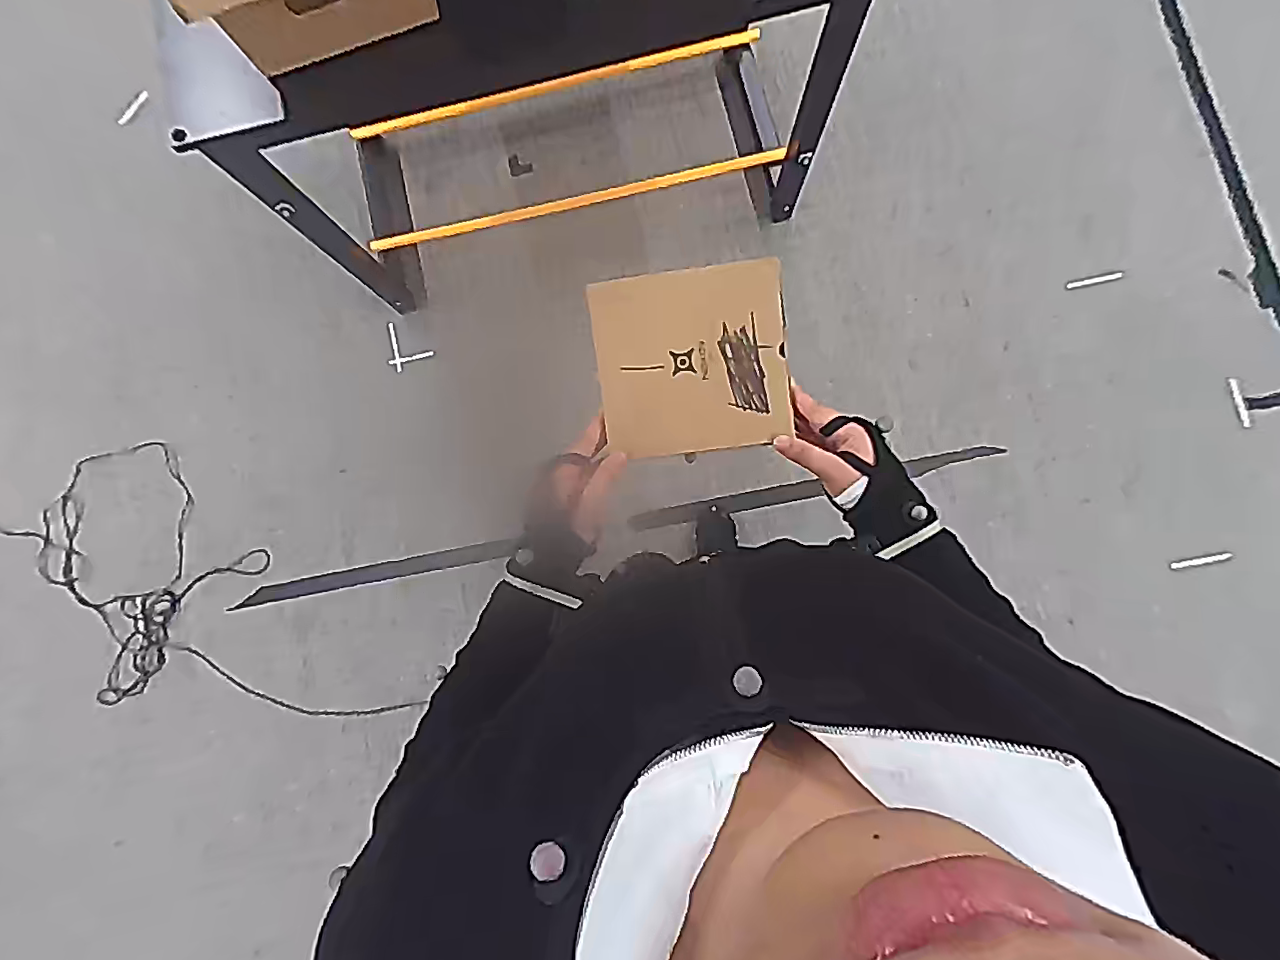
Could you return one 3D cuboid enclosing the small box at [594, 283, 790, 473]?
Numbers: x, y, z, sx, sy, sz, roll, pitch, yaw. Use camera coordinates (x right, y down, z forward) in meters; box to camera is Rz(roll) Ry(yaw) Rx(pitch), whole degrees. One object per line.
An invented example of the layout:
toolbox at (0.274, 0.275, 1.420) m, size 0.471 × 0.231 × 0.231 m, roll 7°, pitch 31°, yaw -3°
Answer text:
small box at (0.053, -0.105, 0.592) m, size 0.179 × 0.176 × 0.168 m, roll -6°, pitch 97°, yaw 3°
